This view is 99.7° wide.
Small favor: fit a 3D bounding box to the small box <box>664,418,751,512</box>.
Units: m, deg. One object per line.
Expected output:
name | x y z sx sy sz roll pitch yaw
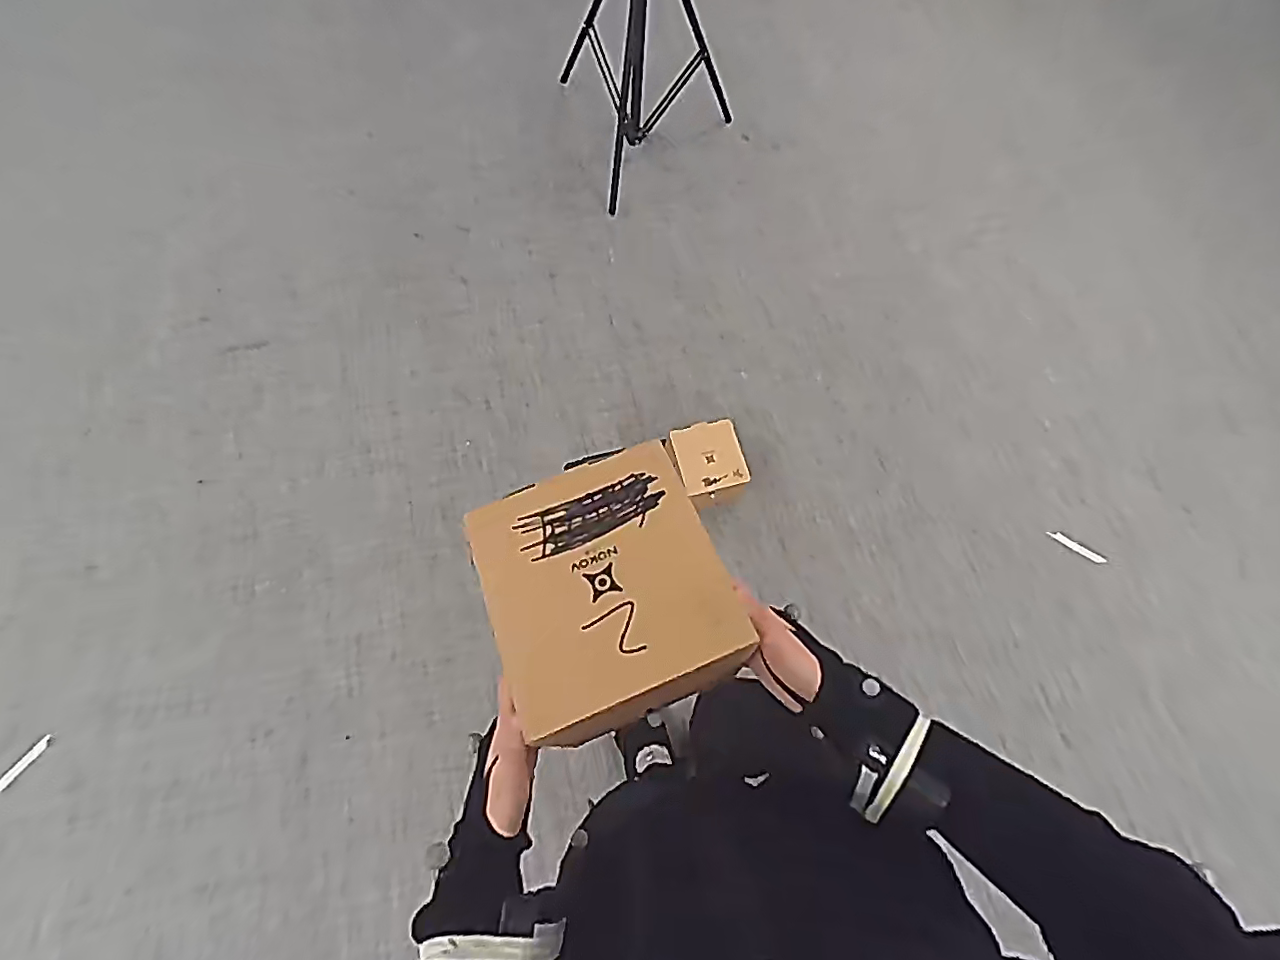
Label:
small box | 0.166 -0.034 1.404 0.168 0.176 0.179 -13 73 -8
